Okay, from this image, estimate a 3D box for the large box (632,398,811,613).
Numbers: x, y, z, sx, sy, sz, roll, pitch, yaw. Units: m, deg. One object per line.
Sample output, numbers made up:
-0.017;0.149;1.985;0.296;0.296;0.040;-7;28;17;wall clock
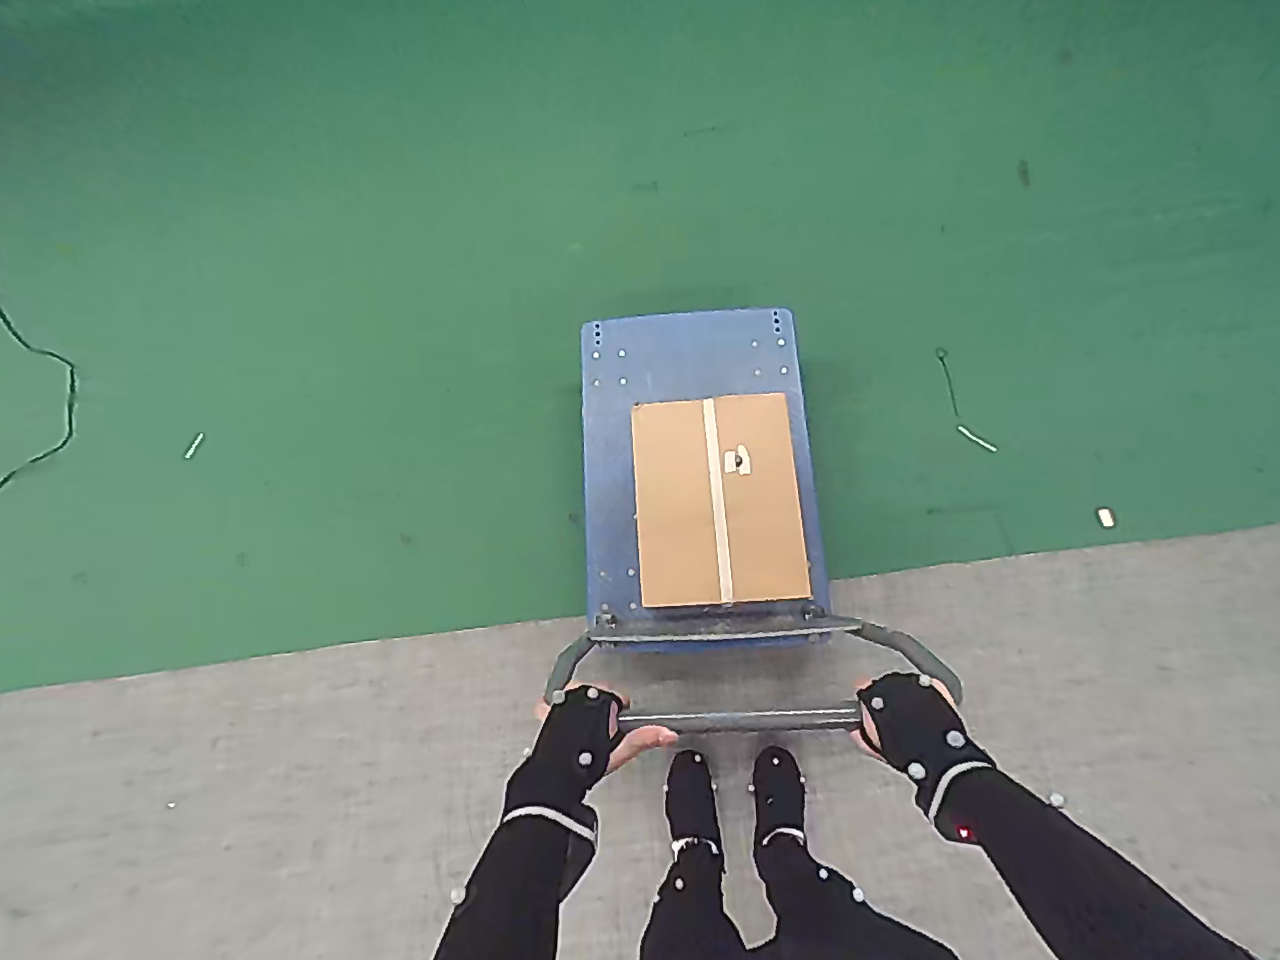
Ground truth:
0.160;0.075;1.189;0.320;0.320;0.408;-4;76;3;large box
